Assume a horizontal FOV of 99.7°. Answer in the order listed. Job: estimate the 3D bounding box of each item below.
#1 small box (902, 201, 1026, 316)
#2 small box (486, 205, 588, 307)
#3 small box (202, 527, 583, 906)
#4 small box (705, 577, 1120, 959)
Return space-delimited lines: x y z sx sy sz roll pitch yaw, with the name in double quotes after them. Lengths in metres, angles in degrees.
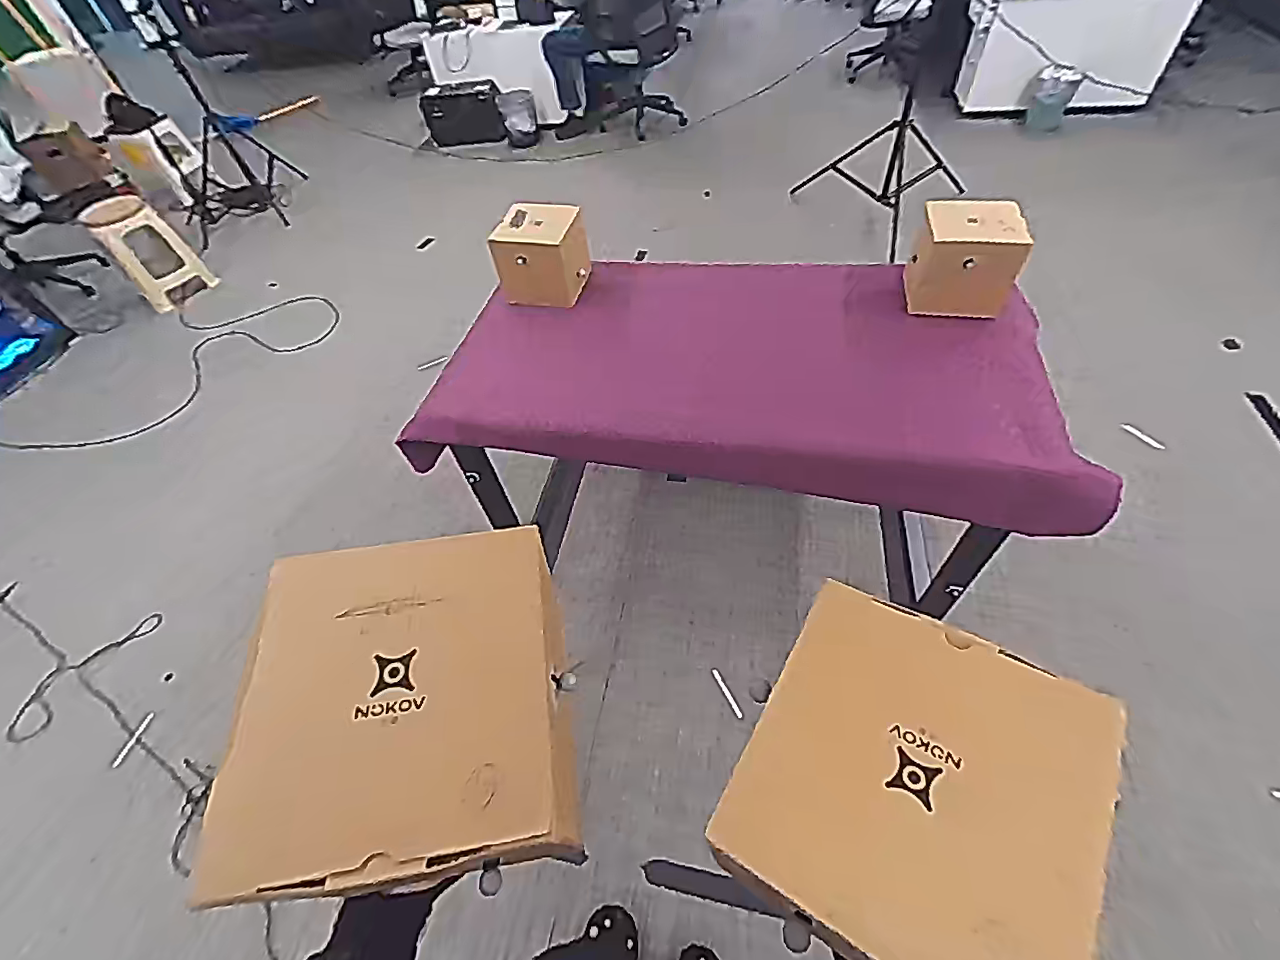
0.667 -0.466 1.141 0.179 0.176 0.168 7 54 11 "small box"
-0.239 -0.537 1.303 0.179 0.176 0.168 9 55 11 "small box"
-0.132 0.156 0.363 0.168 0.176 0.179 -7 54 -7 "small box"
0.159 0.202 0.349 0.168 0.176 0.179 22 57 26 "small box"
